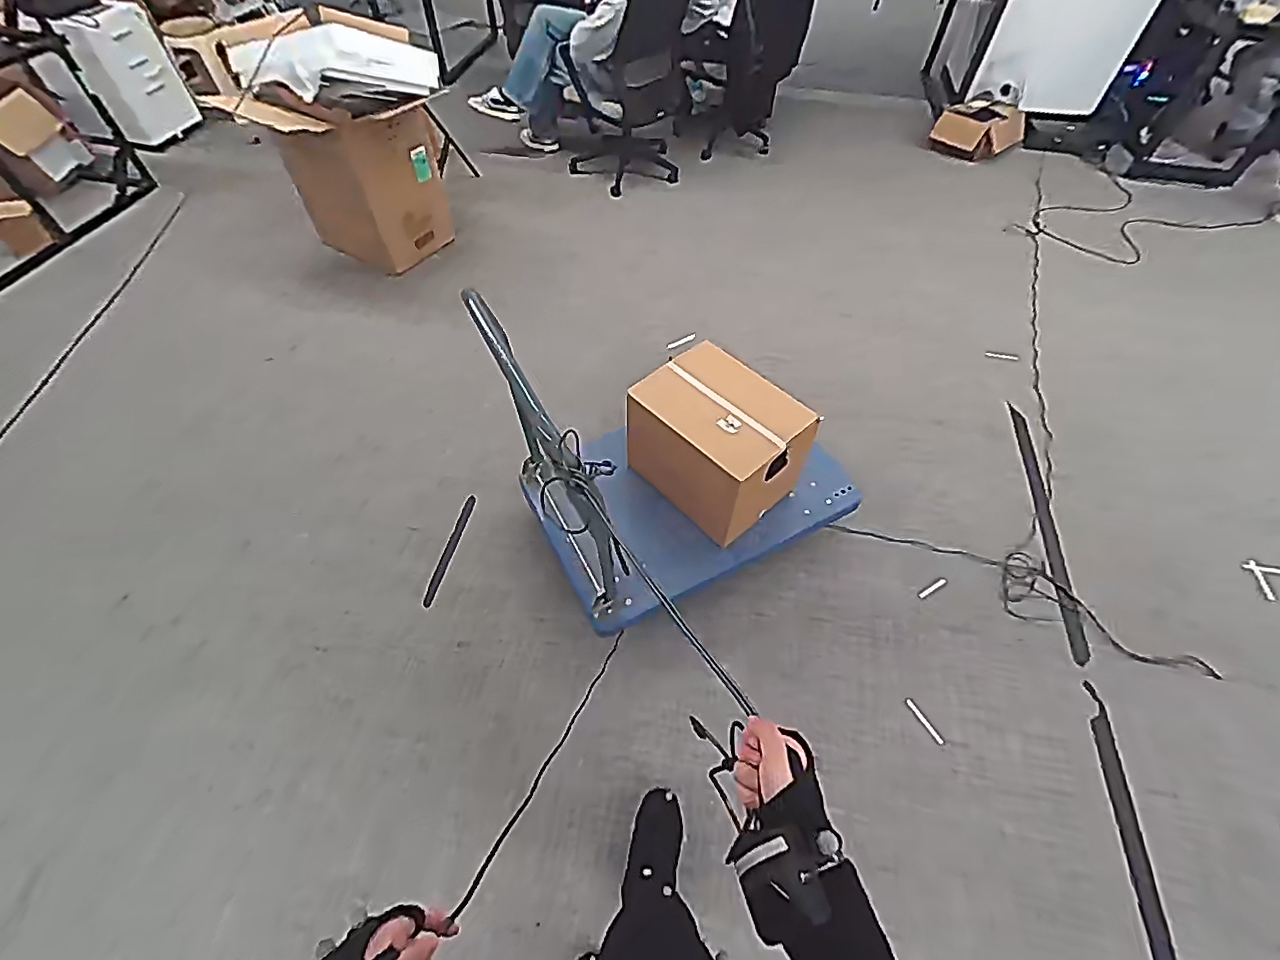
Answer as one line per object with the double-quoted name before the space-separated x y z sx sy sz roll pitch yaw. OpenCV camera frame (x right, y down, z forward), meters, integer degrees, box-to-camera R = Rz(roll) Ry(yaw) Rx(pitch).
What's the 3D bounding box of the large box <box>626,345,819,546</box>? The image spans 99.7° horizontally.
"large box" 0.204 -0.098 1.504 0.320 0.320 0.408 -37 63 -24
